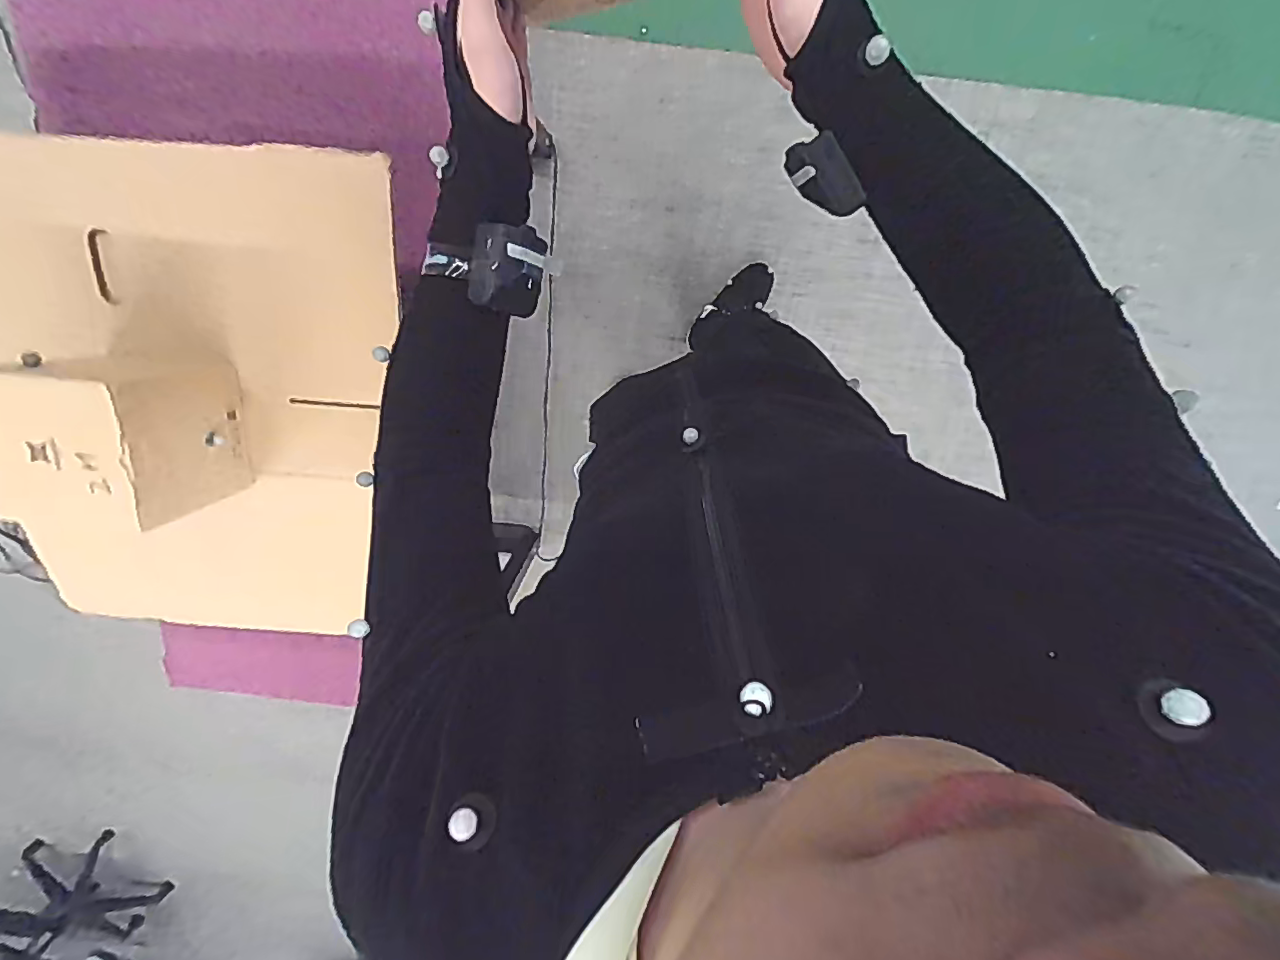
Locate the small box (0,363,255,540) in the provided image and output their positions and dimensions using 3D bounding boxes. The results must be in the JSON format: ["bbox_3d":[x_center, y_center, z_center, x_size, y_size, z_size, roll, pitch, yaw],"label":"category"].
[{"bbox_3d":[-0.609,-0.044,0.643,0.179,0.176,0.168,5,108,1],"label":"small box"}]
